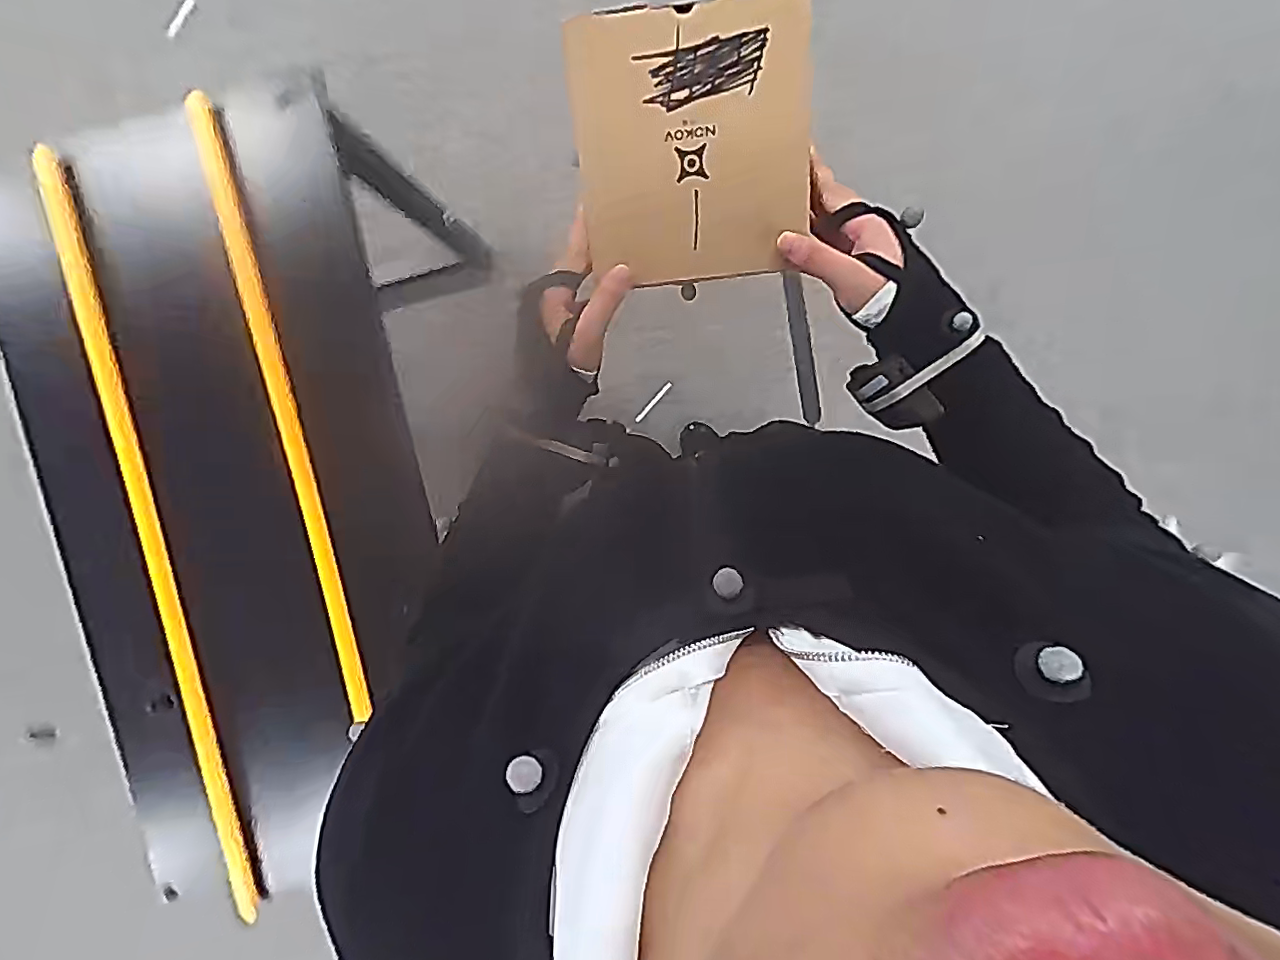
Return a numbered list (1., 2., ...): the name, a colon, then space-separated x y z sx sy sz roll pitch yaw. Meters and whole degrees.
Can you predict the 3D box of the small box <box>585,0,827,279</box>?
1. small box: 0.052 -0.271 0.461 0.168 0.176 0.179 -3 110 5
